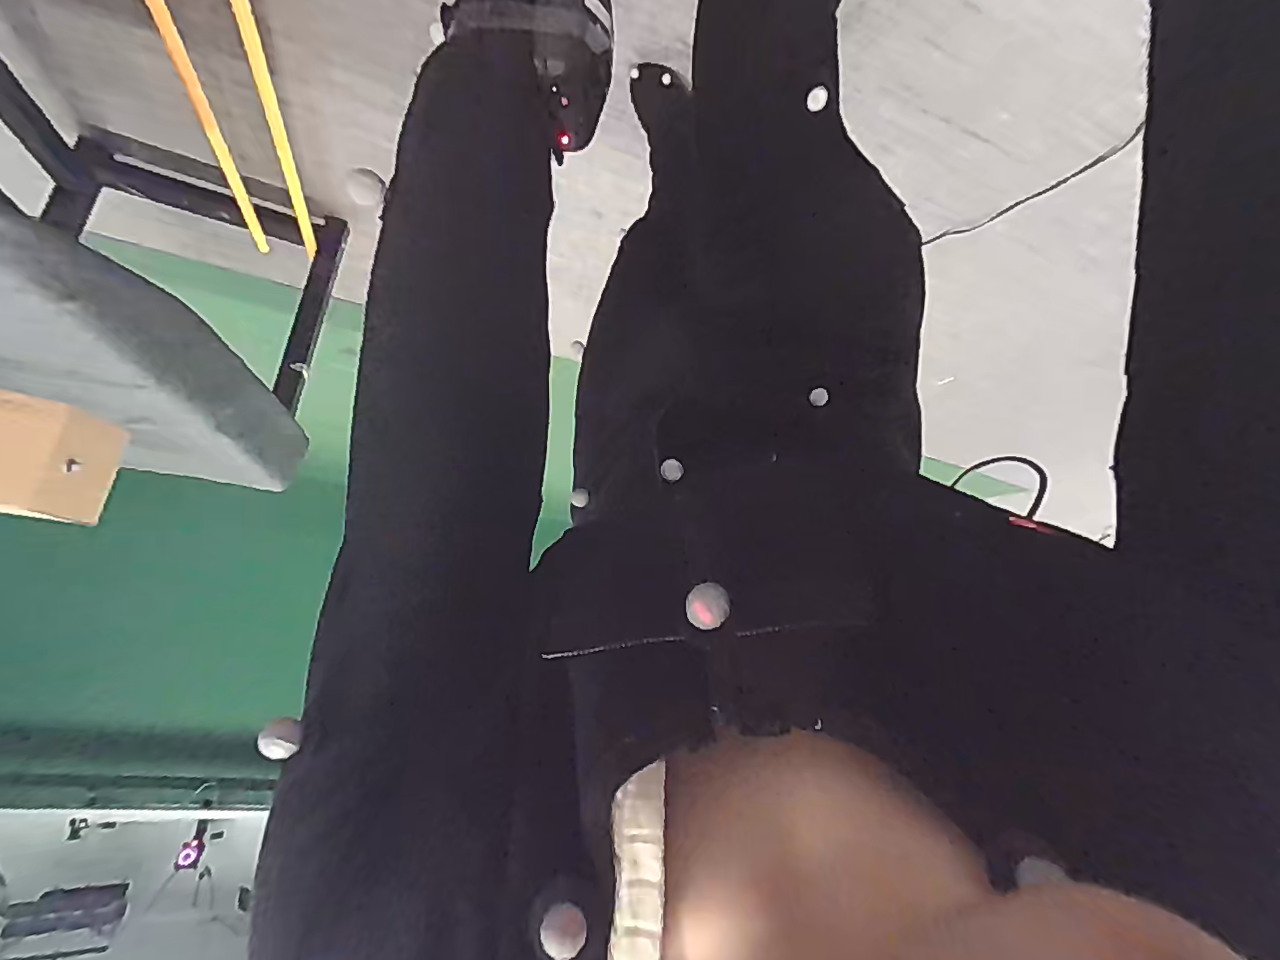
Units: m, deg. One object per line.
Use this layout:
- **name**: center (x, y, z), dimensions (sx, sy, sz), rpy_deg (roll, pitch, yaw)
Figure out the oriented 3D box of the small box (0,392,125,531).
- **small box**: center (-0.924, -0.029, 0.796), dimensions (0.168, 0.176, 0.179), rpy_deg (13, 164, -19)
